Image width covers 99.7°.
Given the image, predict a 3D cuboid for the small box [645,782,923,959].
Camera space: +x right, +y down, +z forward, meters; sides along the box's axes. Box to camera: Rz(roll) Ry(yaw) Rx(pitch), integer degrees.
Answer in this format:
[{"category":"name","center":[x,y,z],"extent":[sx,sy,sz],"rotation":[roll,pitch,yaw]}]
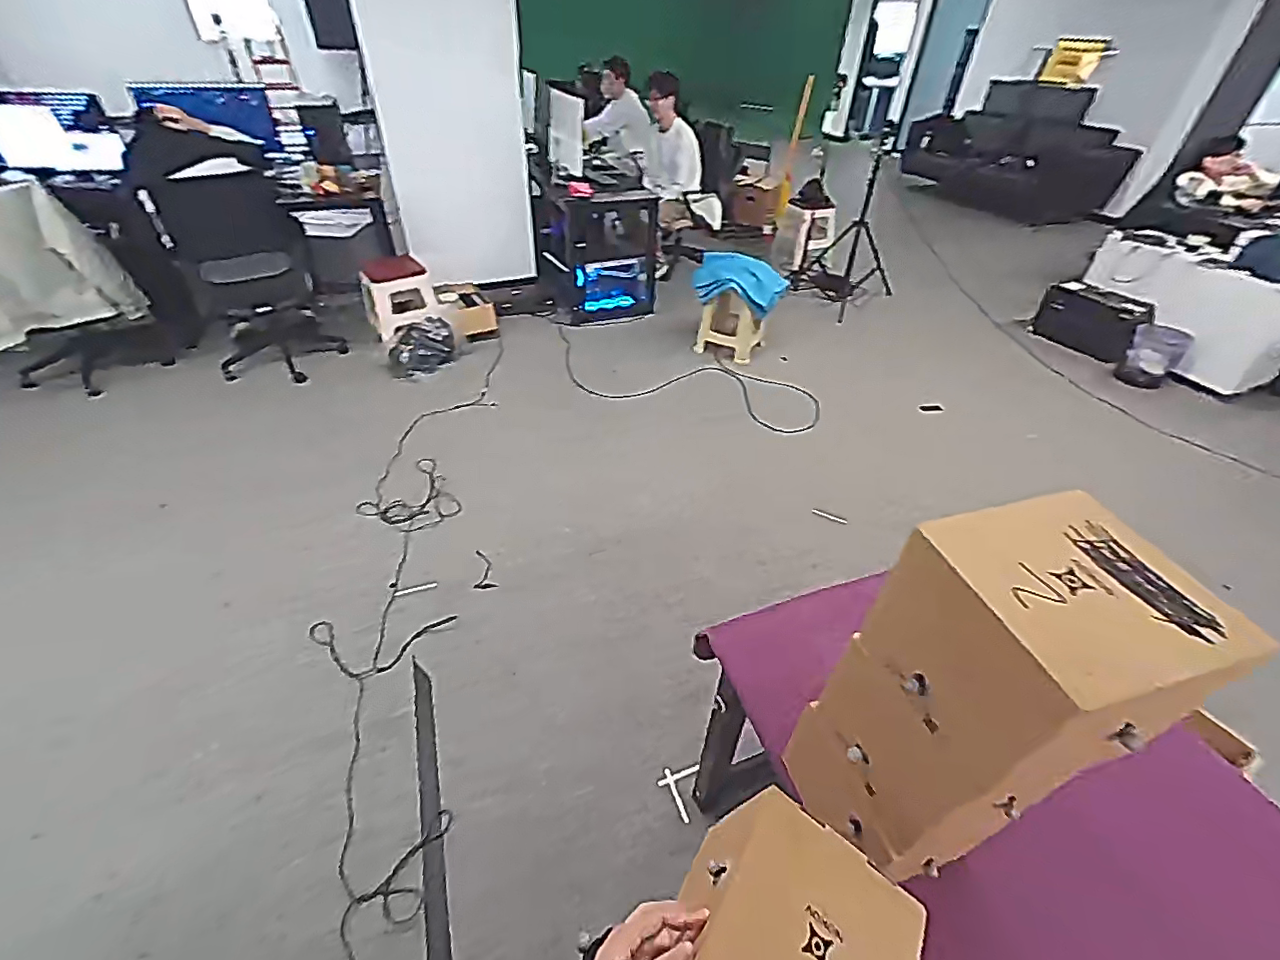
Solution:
[{"category":"small box","center":[0.122,0.430,0.496],"extent":[0.168,0.176,0.179],"rotation":[34,43,14]}]

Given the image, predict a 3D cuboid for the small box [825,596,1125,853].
[{"category":"small box","center":[0.325,0.253,0.568],"extent":[0.179,0.176,0.168],"rotation":[-11,42,-13]}]

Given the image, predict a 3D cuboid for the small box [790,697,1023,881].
[{"category":"small box","center":[0.311,0.378,0.675],"extent":[0.168,0.176,0.179],"rotation":[-9,42,-13]}]
